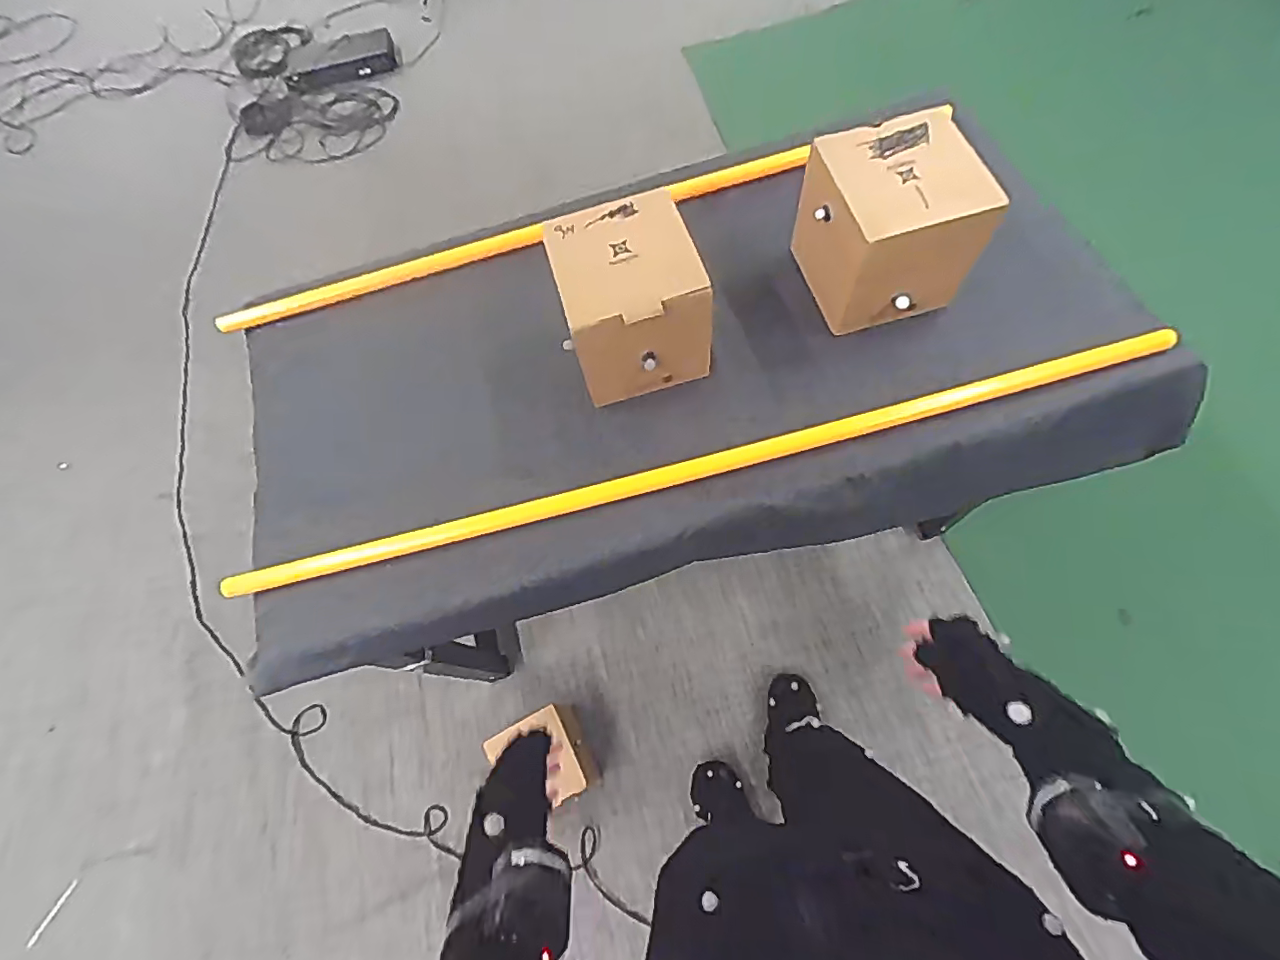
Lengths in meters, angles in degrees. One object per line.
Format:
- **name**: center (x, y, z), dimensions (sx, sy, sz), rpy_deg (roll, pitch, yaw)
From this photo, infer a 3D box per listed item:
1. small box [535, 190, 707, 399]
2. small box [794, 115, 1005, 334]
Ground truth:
- **small box**: center (-0.016, -0.226, 0.703), dimensions (0.168, 0.176, 0.179), rpy_deg (-20, 65, -1)
- **small box**: center (0.315, -0.325, 0.706), dimensions (0.168, 0.176, 0.179), rpy_deg (-15, 67, 0)
